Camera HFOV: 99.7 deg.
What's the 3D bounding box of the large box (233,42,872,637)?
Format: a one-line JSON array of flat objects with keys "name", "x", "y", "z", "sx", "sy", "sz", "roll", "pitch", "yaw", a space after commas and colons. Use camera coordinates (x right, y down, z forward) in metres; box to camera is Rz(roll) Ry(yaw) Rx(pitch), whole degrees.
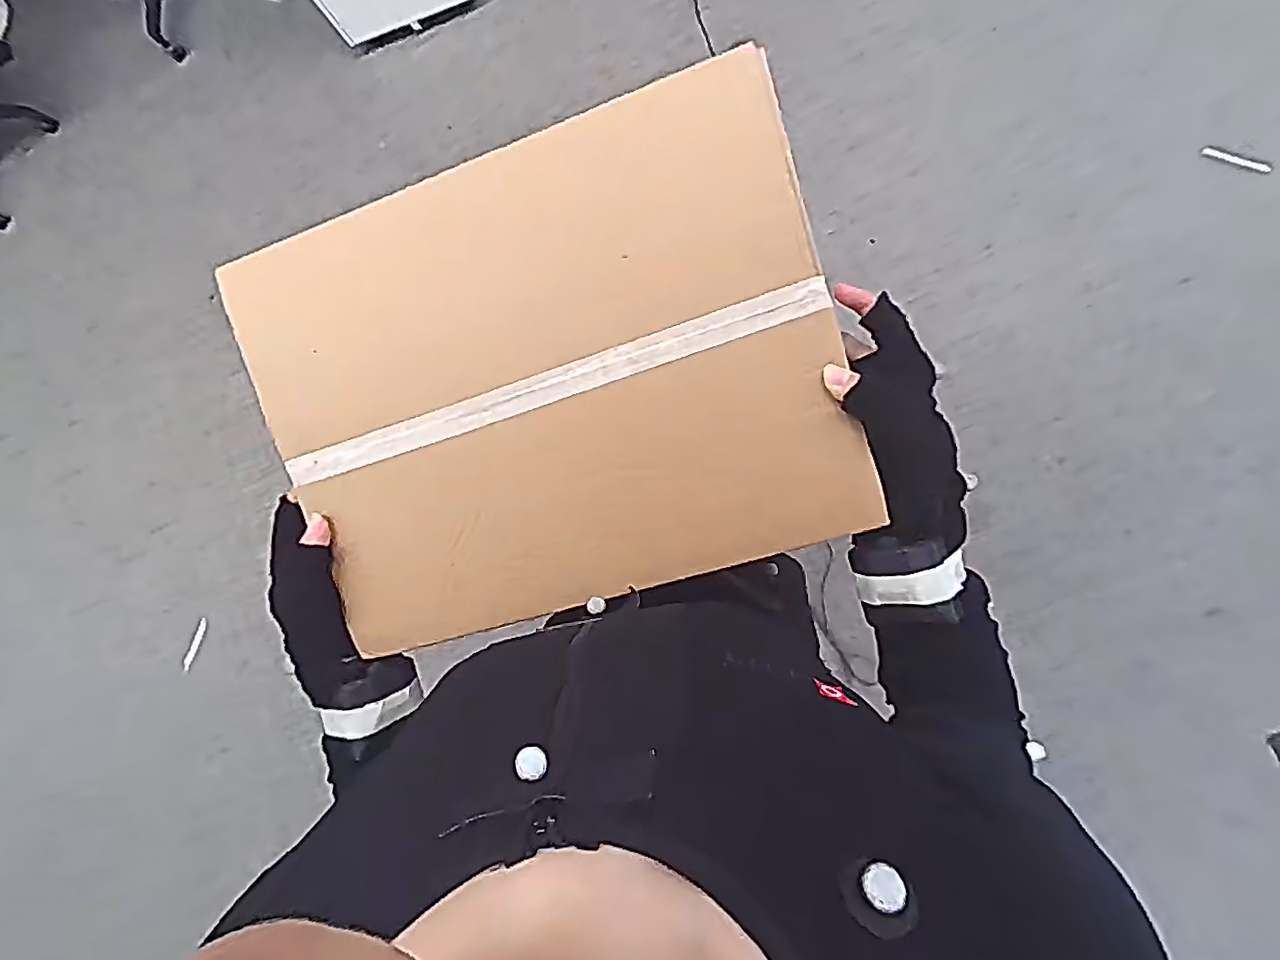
[{"name": "large box", "x": -0.051, "y": -0.097, "z": 0.528, "sx": 0.408, "sy": 0.320, "sz": 0.320, "roll": -16, "pitch": 96, "yaw": 10}]
